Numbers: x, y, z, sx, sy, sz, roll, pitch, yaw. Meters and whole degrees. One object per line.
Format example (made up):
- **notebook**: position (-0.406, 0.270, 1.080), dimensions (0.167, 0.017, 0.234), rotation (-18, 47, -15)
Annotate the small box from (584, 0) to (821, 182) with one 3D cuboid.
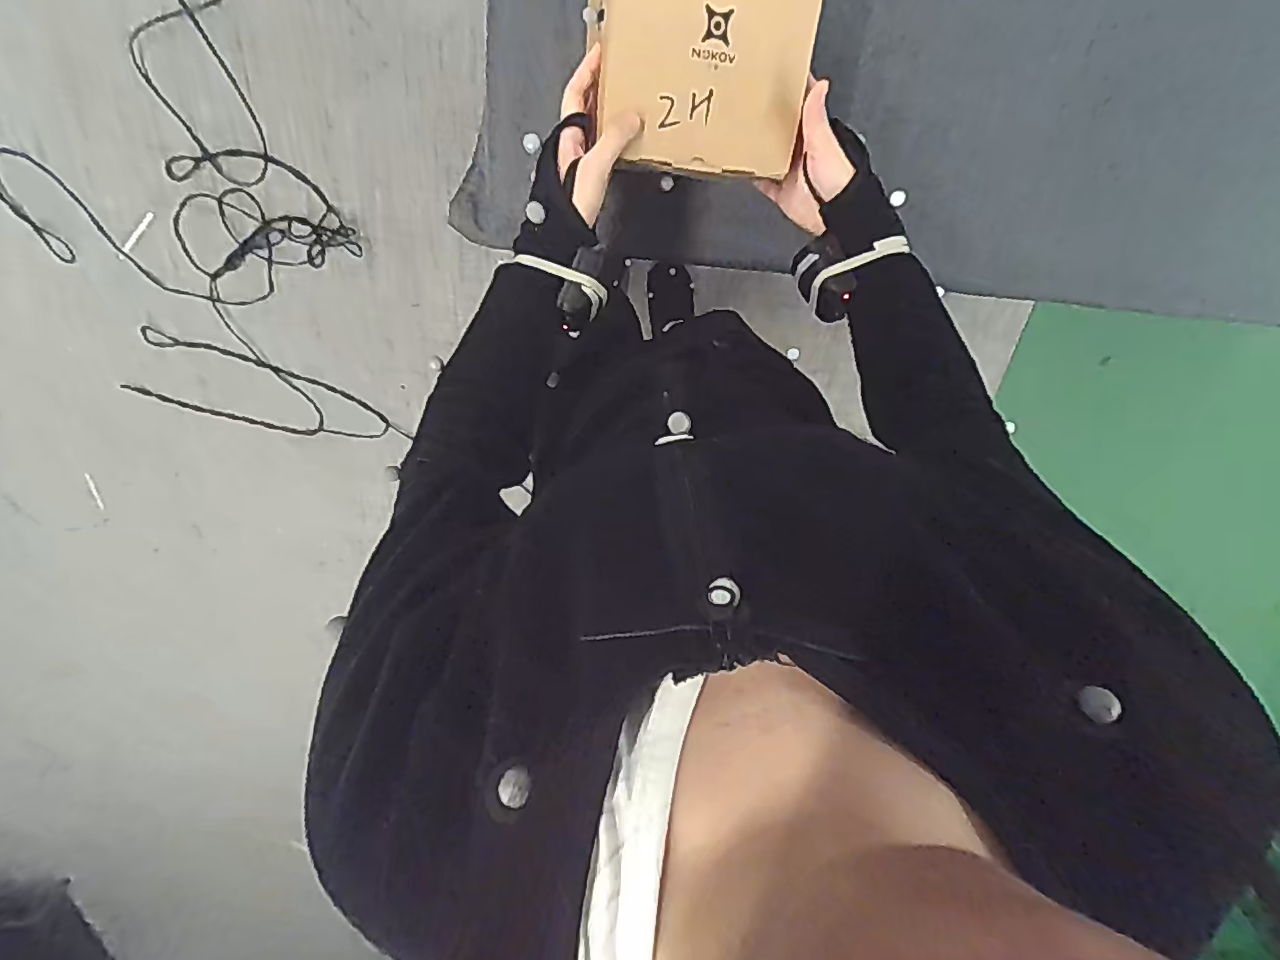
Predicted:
- **small box**: position (0.041, -0.377, 0.484), dimensions (0.168, 0.176, 0.179), rotation (1, 117, -11)
